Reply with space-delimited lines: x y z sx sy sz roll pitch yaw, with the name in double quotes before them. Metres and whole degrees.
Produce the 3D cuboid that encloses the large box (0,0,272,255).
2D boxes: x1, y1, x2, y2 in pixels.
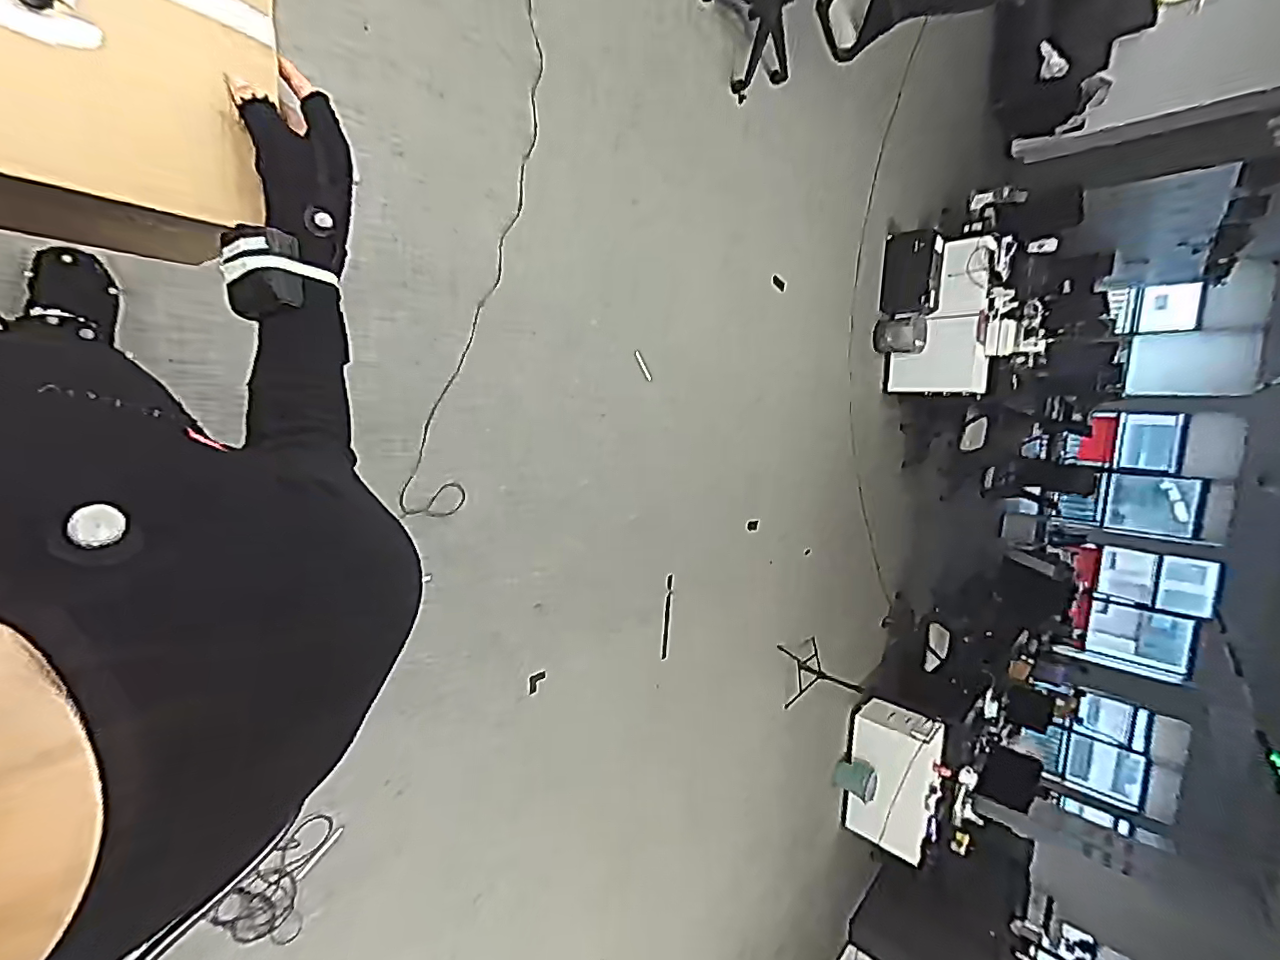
"large box" -0.556 -0.385 0.398 0.408 0.320 0.320 -5 104 -49
